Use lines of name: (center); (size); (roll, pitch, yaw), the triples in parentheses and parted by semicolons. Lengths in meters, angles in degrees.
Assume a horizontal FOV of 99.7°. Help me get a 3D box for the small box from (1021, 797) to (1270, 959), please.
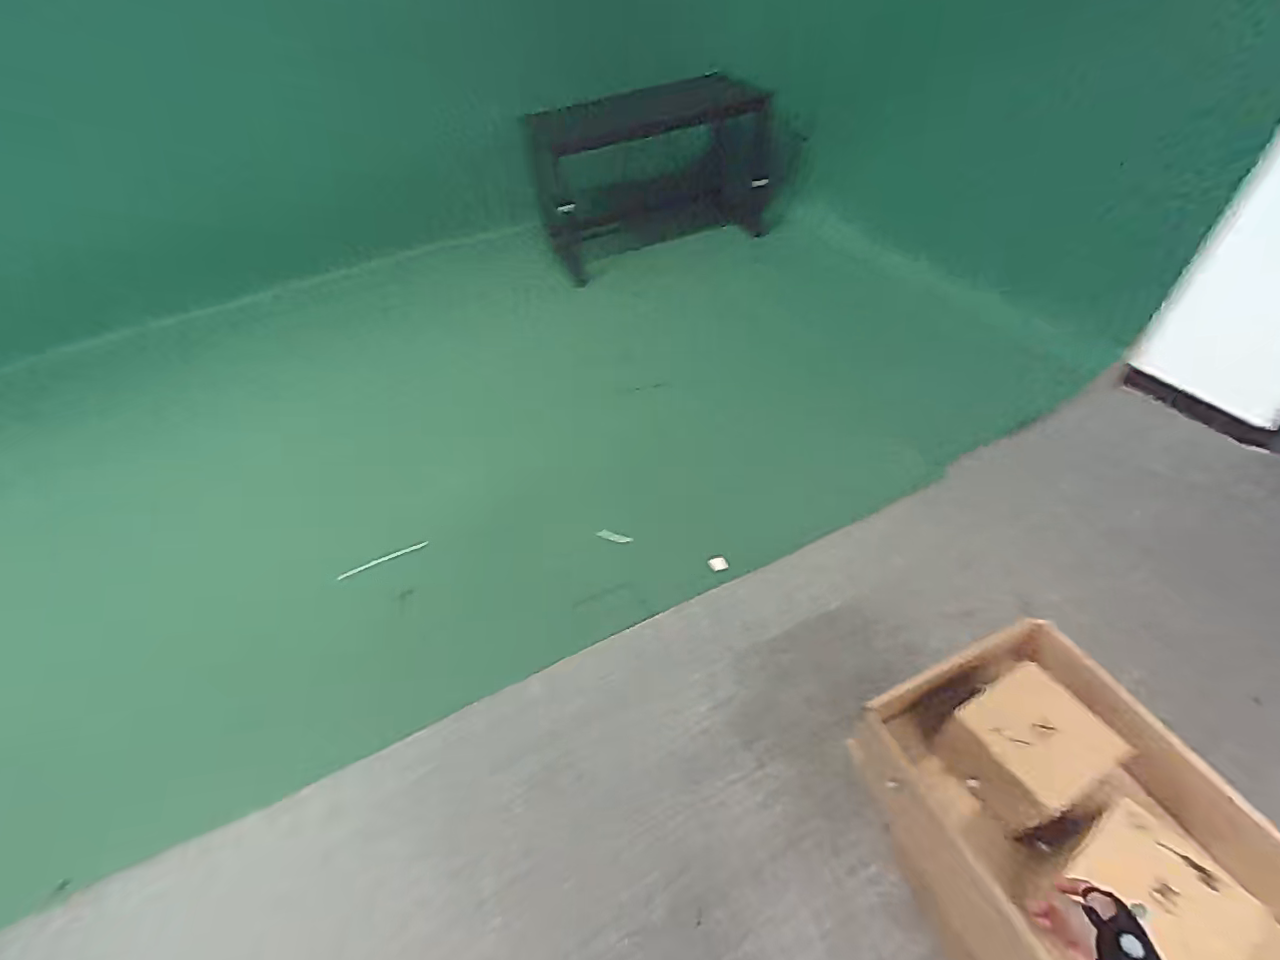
small box: (0.669, 0.585, 0.742); (0.179, 0.176, 0.168); (-31, 51, -19)

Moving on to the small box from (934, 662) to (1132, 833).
small box: (0.623, 0.437, 0.885); (0.179, 0.176, 0.168); (-24, 48, -14)
